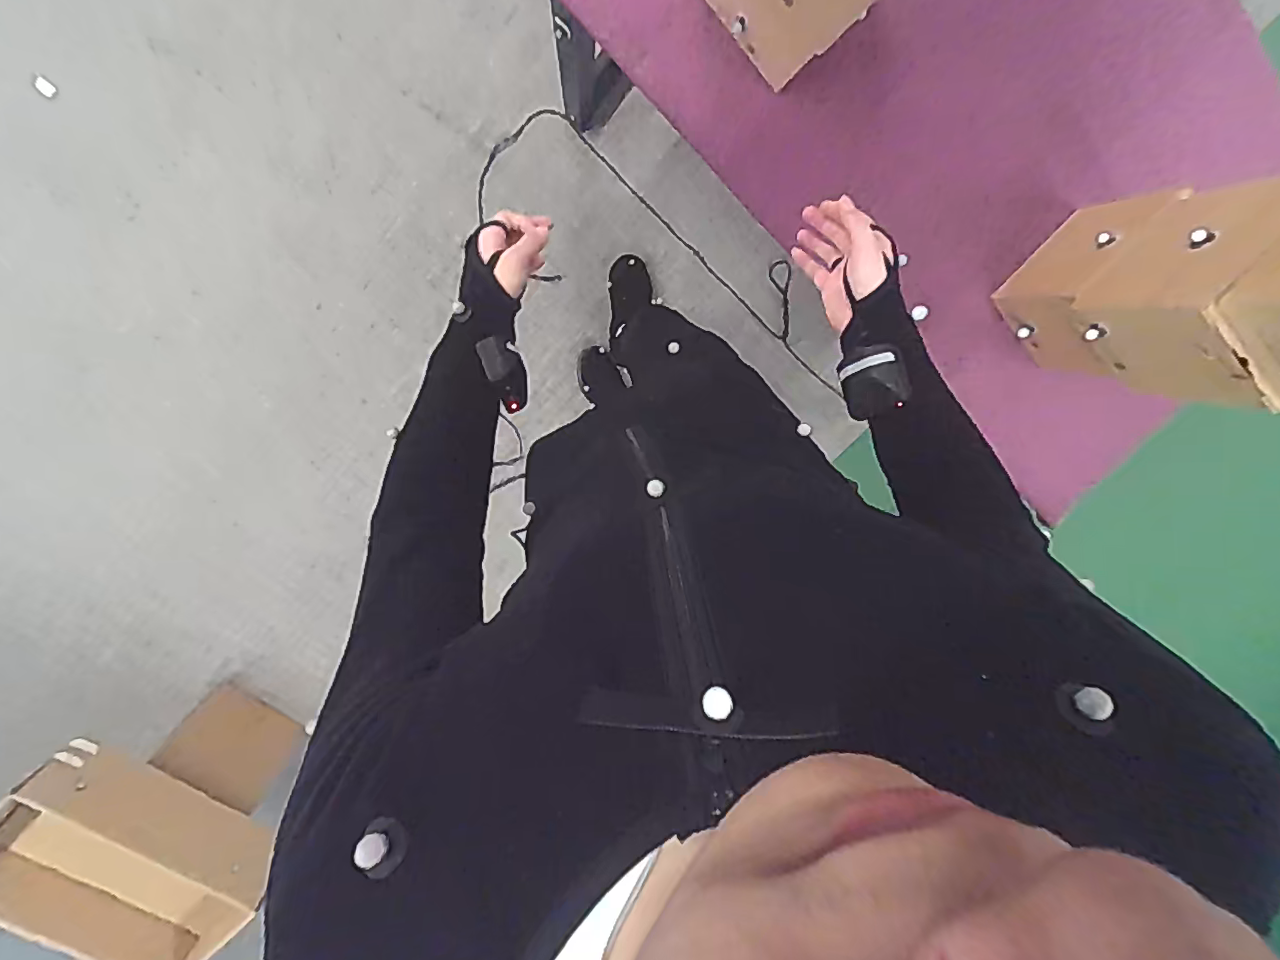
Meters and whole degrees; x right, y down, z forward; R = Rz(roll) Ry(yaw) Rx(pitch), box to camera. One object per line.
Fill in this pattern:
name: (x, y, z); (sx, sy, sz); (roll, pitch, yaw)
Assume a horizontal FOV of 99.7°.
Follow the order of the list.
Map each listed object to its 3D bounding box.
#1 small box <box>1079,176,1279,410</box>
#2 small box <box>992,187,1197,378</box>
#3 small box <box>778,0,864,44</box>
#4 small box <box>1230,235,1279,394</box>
small box: (0.657, -0.207, 0.615); (0.168, 0.176, 0.179); (39, 100, -15)
small box: (0.658, -0.271, 0.766); (0.168, 0.176, 0.179); (41, 101, -15)
small box: (0.186, -0.534, 0.459); (0.168, 0.176, 0.179); (38, 102, -16)
small box: (0.678, -0.165, 0.459); (0.168, 0.176, 0.179); (37, 100, -14)
